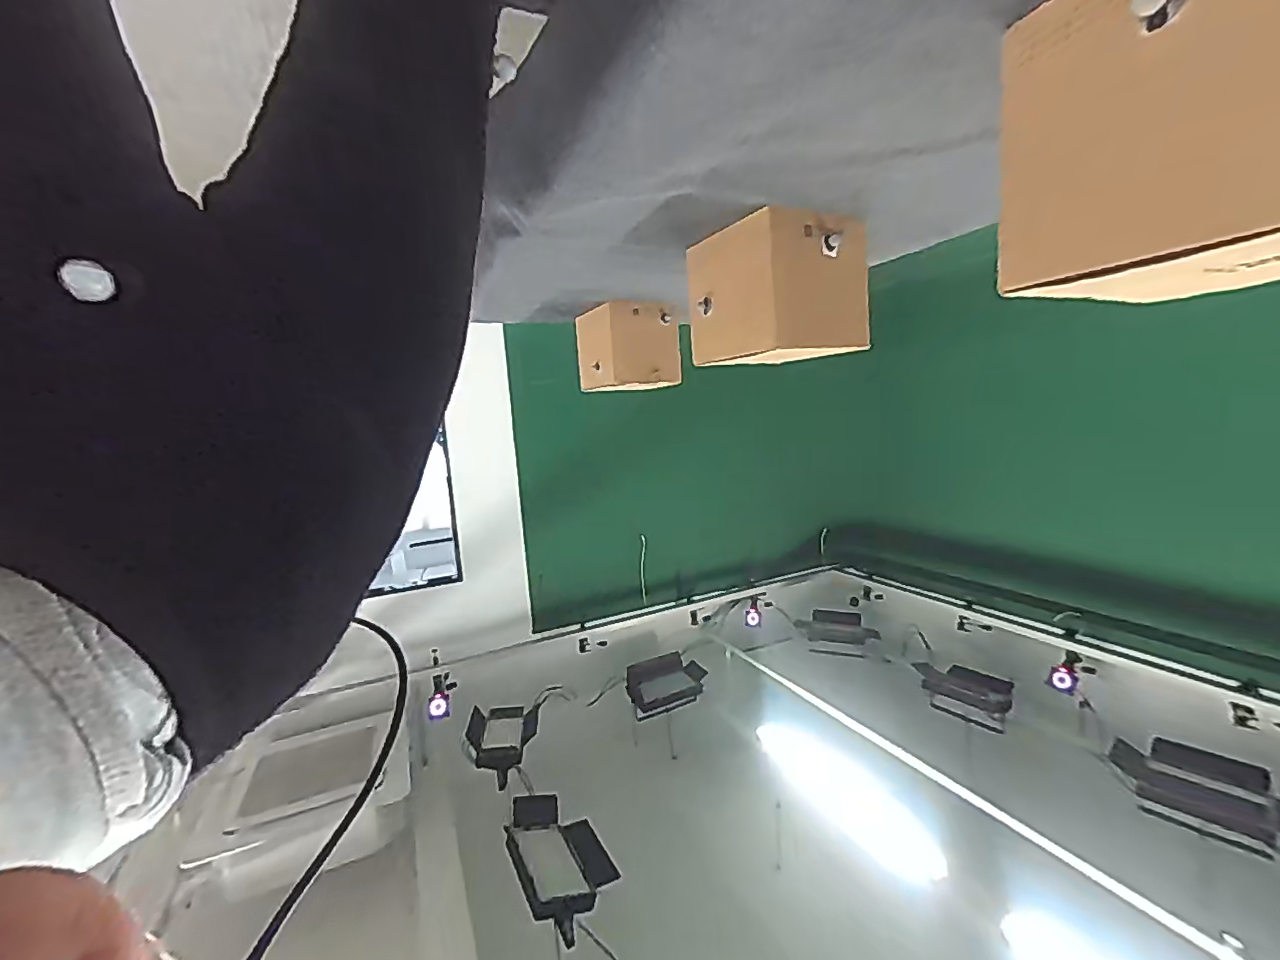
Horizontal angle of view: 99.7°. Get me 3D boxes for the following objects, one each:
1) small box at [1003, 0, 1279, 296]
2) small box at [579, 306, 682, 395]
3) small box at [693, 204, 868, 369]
[{"bbox_3d":[0.346,-0.207,0.303,0.168,0.176,0.179,-7,-172,-19],"label":"small box"},{"bbox_3d":[-0.028,-0.281,1.187,0.168,0.176,0.179,-8,-172,-28],"label":"small box"},{"bbox_3d":[0.183,-0.249,0.733,0.168,0.176,0.179,-9,-173,-27],"label":"small box"}]
